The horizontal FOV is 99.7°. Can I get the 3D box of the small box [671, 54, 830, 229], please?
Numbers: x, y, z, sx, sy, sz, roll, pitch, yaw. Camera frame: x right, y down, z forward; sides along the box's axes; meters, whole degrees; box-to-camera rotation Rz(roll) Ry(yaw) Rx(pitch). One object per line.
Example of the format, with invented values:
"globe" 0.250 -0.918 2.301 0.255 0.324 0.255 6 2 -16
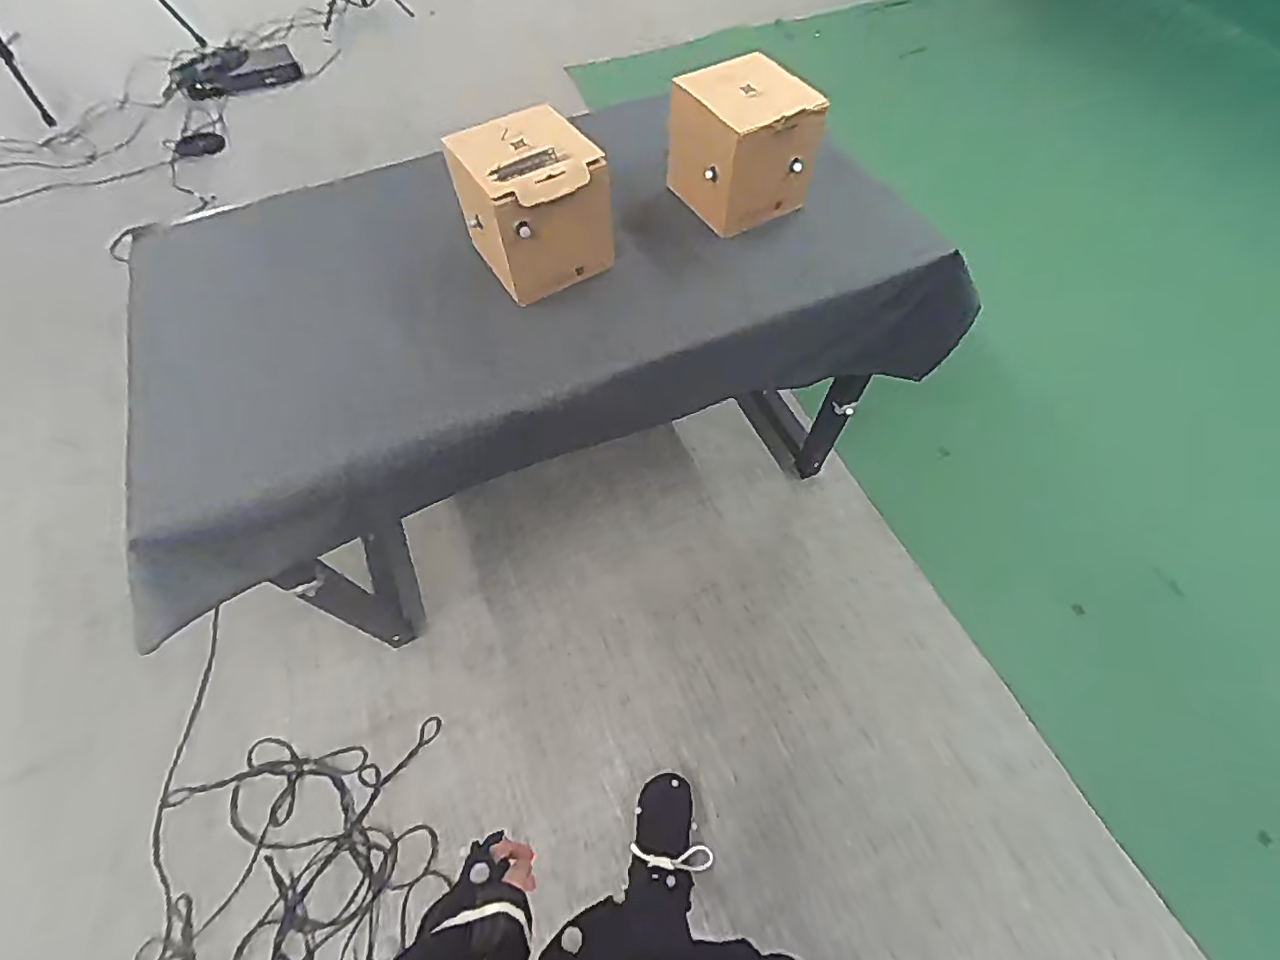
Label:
"small box" 0.162 -0.525 0.856 0.168 0.176 0.179 -27 63 -15
